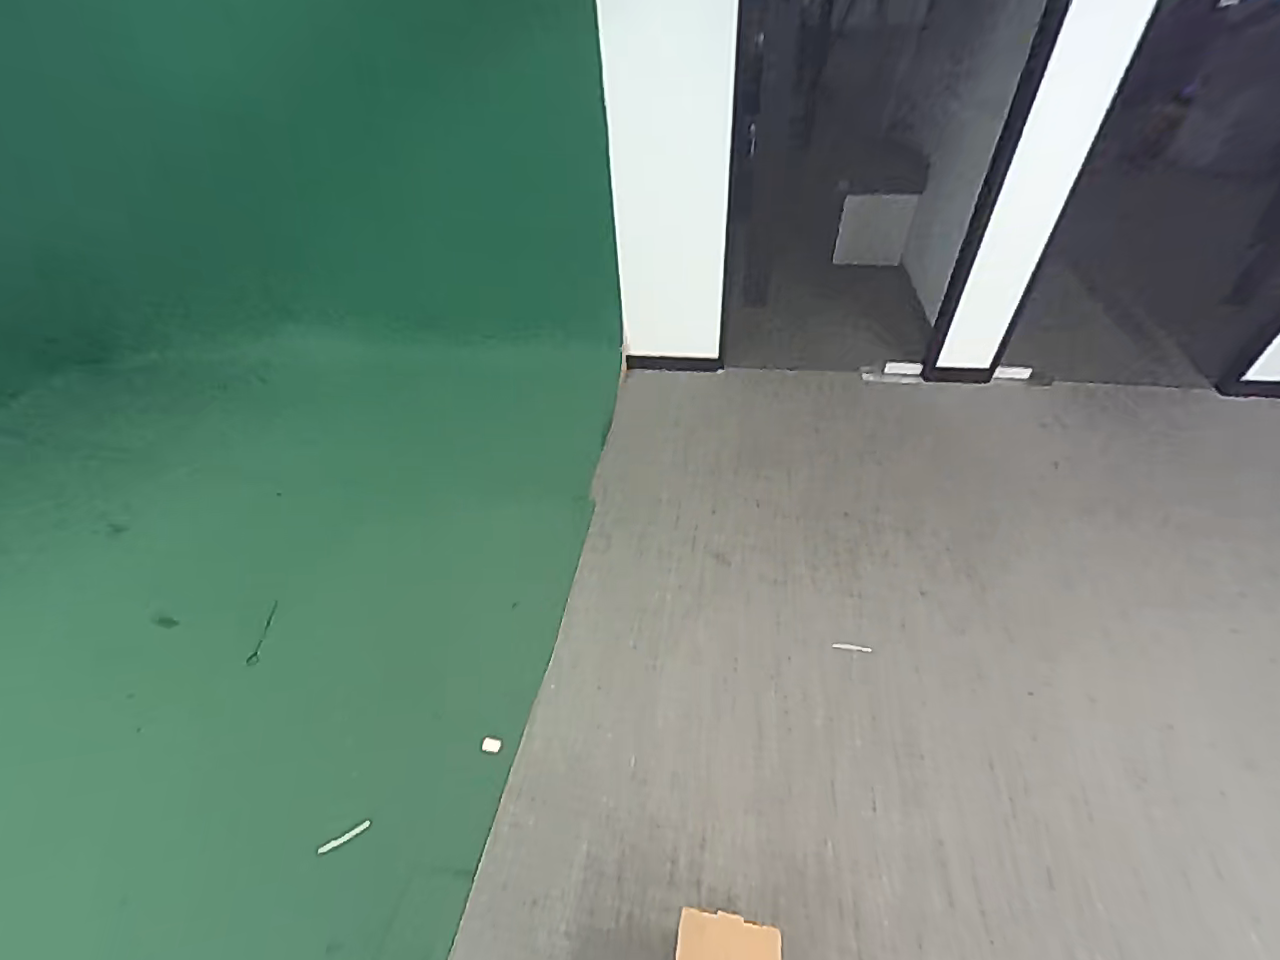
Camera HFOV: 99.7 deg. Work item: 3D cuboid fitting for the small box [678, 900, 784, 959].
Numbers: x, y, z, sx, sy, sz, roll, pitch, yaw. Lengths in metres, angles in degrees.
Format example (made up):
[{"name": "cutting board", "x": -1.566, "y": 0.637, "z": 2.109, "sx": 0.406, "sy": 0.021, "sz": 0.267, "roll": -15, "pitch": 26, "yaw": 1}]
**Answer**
[{"name": "small box", "x": 0.142, "y": 0.828, "z": 0.887, "sx": 0.168, "sy": 0.176, "sz": 0.179, "roll": 4, "pitch": 45, "yaw": 11}]
